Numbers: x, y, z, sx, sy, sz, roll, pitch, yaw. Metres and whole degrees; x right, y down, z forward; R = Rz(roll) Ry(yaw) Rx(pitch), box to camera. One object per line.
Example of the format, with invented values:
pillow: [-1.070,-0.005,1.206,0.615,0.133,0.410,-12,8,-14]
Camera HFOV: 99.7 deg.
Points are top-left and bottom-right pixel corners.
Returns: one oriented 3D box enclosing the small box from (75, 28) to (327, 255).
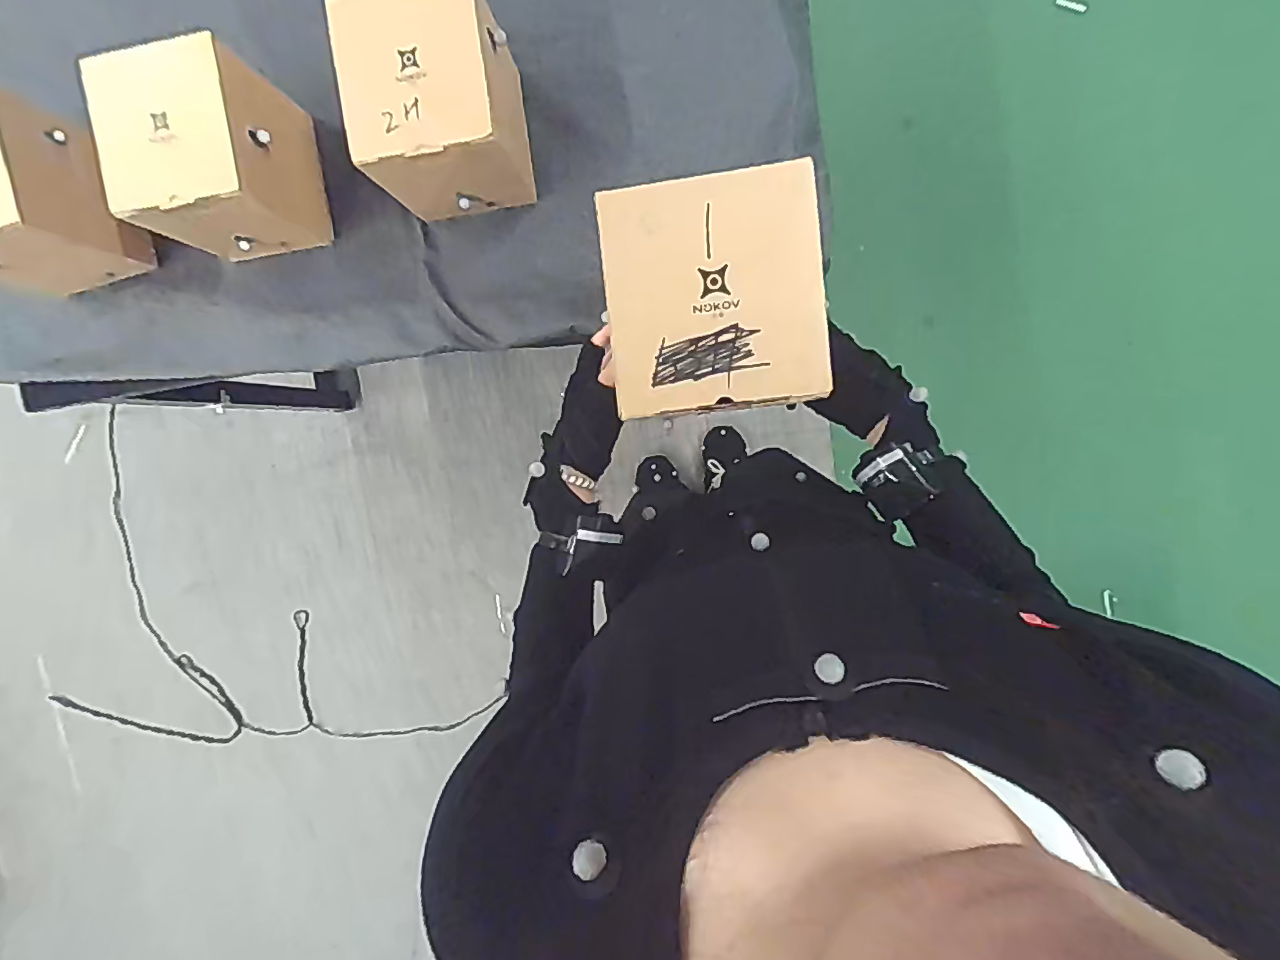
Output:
small box: [-0.534,-0.409,0.684,0.168,0.176,0.179,-7,95,4]

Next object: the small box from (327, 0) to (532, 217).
small box: [-0.240,-0.450,0.656,0.168,0.176,0.179,-7,95,5]

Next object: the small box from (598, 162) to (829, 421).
small box: [0.064,-0.150,0.492,0.168,0.176,0.179,-6,95,5]
